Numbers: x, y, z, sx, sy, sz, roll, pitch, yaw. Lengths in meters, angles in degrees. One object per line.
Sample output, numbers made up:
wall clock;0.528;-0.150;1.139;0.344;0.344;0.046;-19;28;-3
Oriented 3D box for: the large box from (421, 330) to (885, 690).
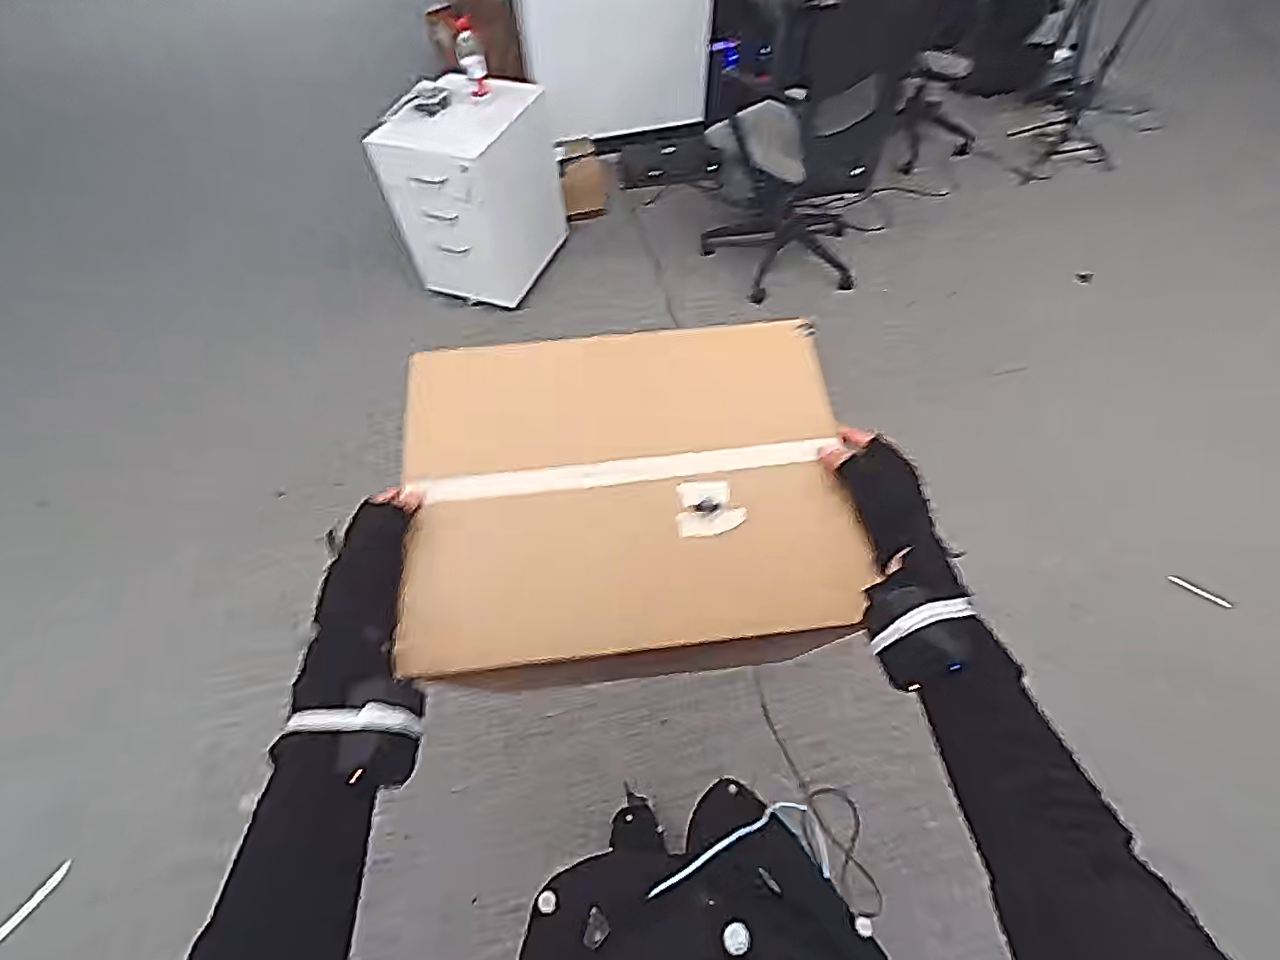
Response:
large box;-0.005;0.056;0.645;0.408;0.320;0.320;-5;67;-4
